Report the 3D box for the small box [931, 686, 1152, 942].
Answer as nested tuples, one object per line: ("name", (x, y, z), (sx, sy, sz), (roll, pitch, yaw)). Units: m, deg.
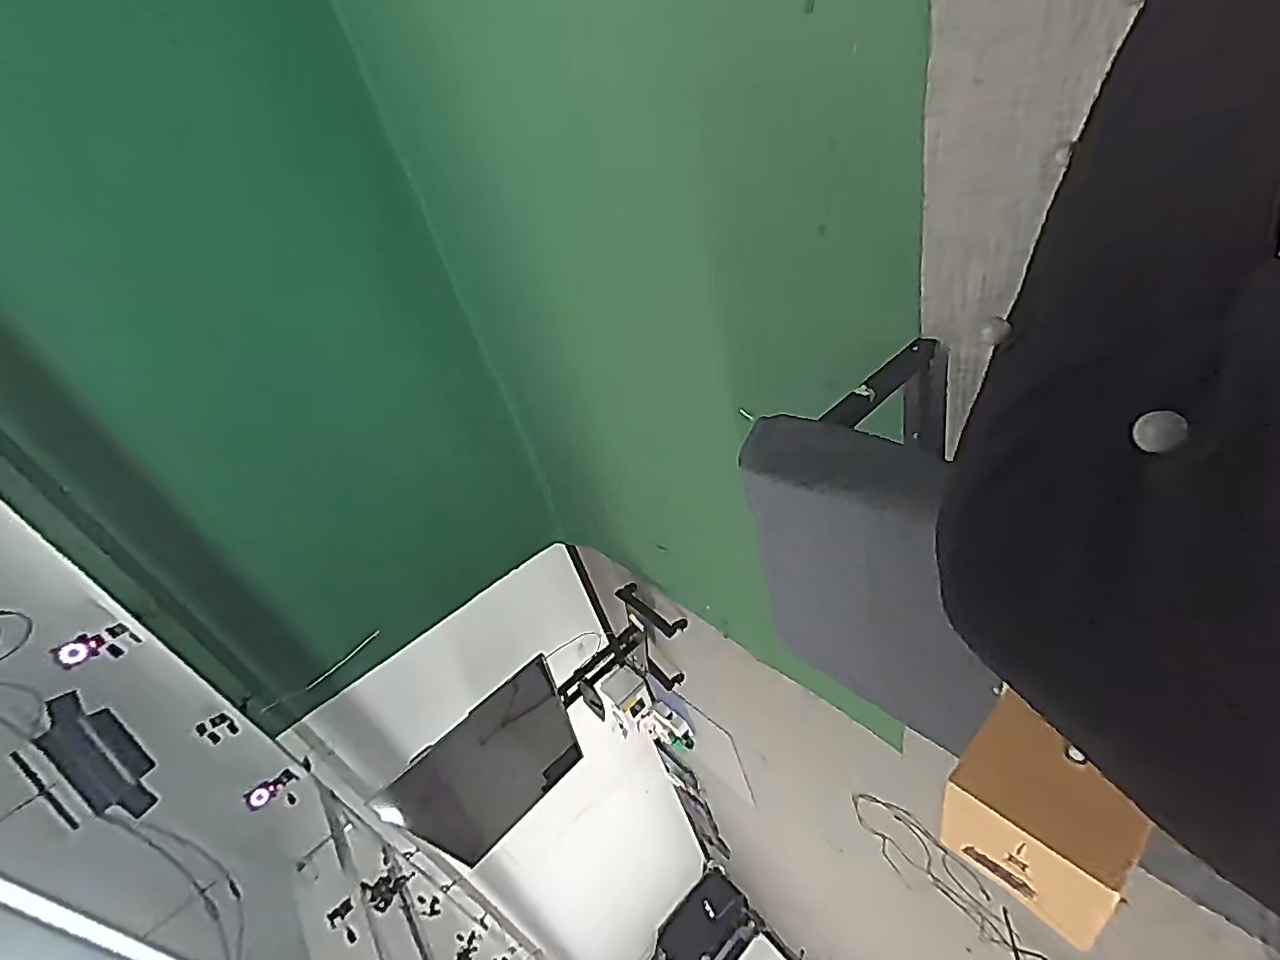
("small box", (0.489, 0.401, 0.670), (0.168, 0.176, 0.179), (24, 144, 49))
